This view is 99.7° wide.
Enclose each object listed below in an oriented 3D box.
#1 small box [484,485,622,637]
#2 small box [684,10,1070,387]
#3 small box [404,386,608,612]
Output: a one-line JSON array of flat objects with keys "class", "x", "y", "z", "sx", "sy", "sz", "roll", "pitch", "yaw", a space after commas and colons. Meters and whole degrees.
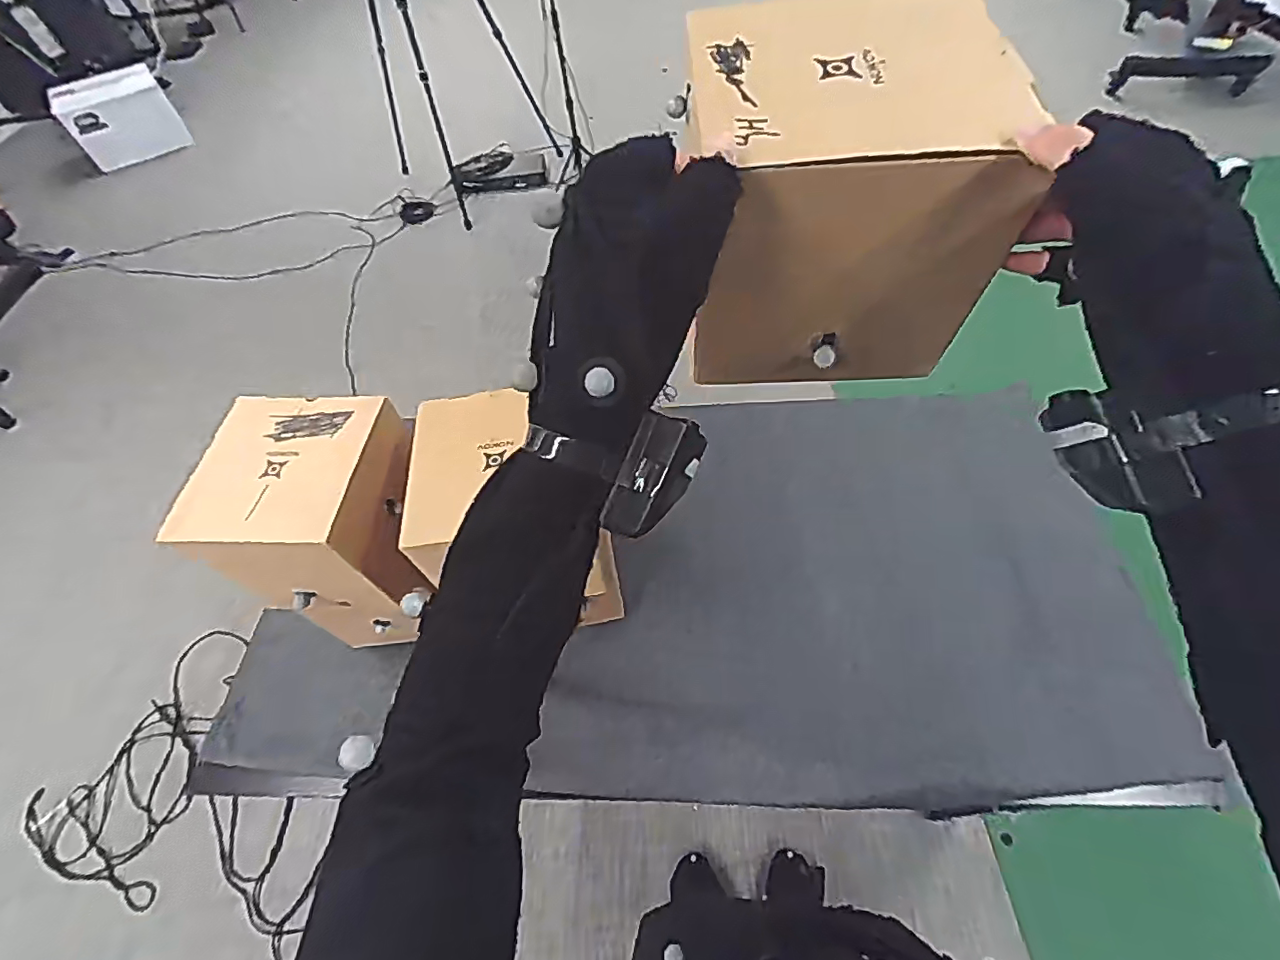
[{"class": "small box", "x": -0.121, "y": 0.098, "z": 0.728, "sx": 0.168, "sy": 0.176, "sz": 0.179, "roll": -10, "pitch": 54, "yaw": -3}, {"class": "small box", "x": 0.123, "y": -0.177, "z": 0.367, "sx": 0.179, "sy": 0.176, "sz": 0.168, "roll": 0, "pitch": 60, "yaw": 2}, {"class": "small box", "x": -0.129, "y": 0.029, "z": 0.579, "sx": 0.168, "sy": 0.176, "sz": 0.179, "roll": -8, "pitch": 54, "yaw": -2}]
